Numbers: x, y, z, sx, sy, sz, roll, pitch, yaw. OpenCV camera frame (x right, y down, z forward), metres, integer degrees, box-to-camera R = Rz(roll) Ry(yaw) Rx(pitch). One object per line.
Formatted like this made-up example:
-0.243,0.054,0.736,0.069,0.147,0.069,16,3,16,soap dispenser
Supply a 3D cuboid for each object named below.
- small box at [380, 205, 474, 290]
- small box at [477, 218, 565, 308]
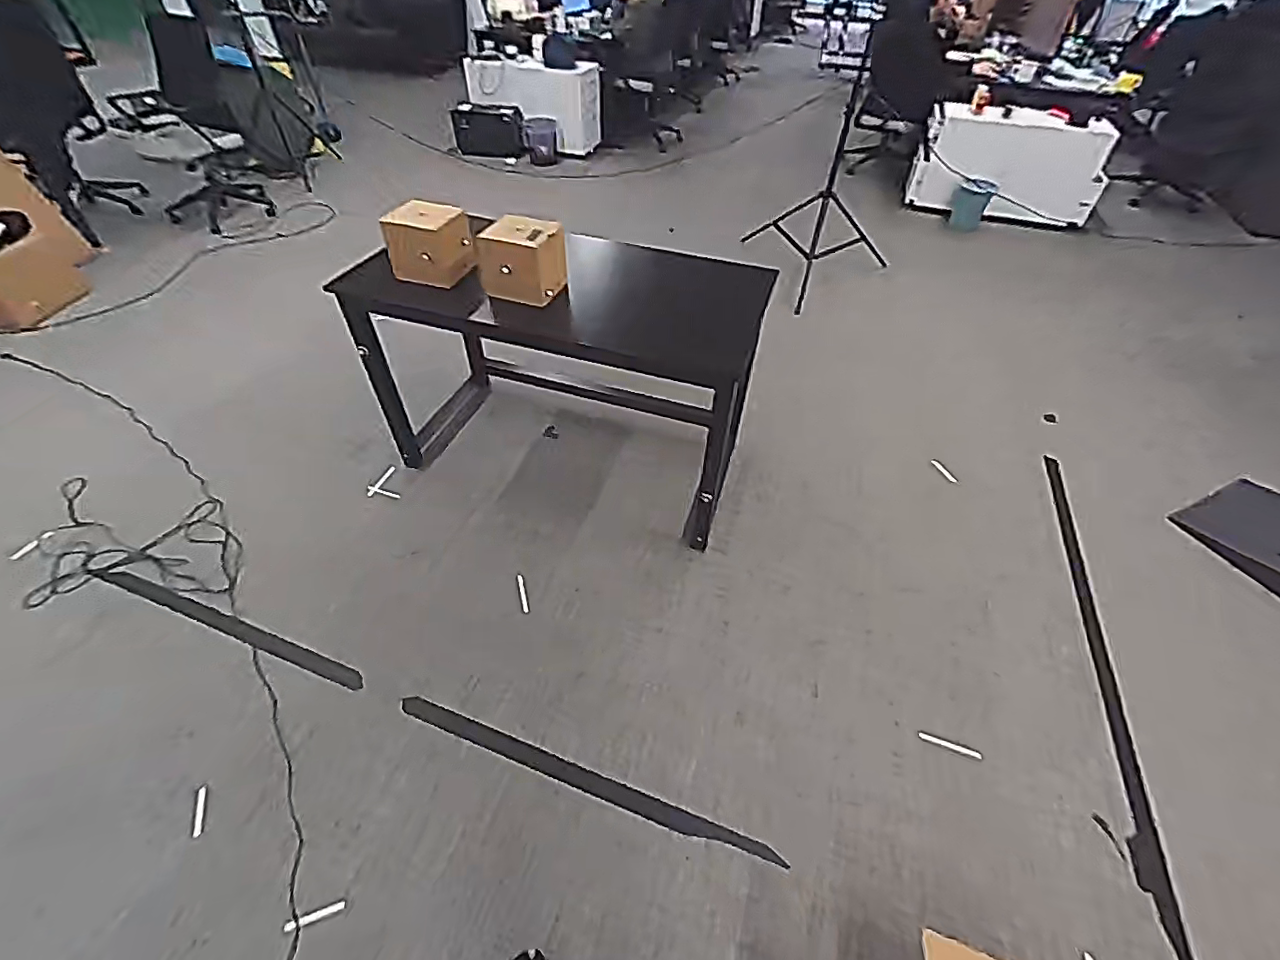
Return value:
-0.602,-0.666,1.555,0.179,0.176,0.168,13,46,10,small box
-0.319,-0.599,1.501,0.179,0.176,0.168,15,48,13,small box
